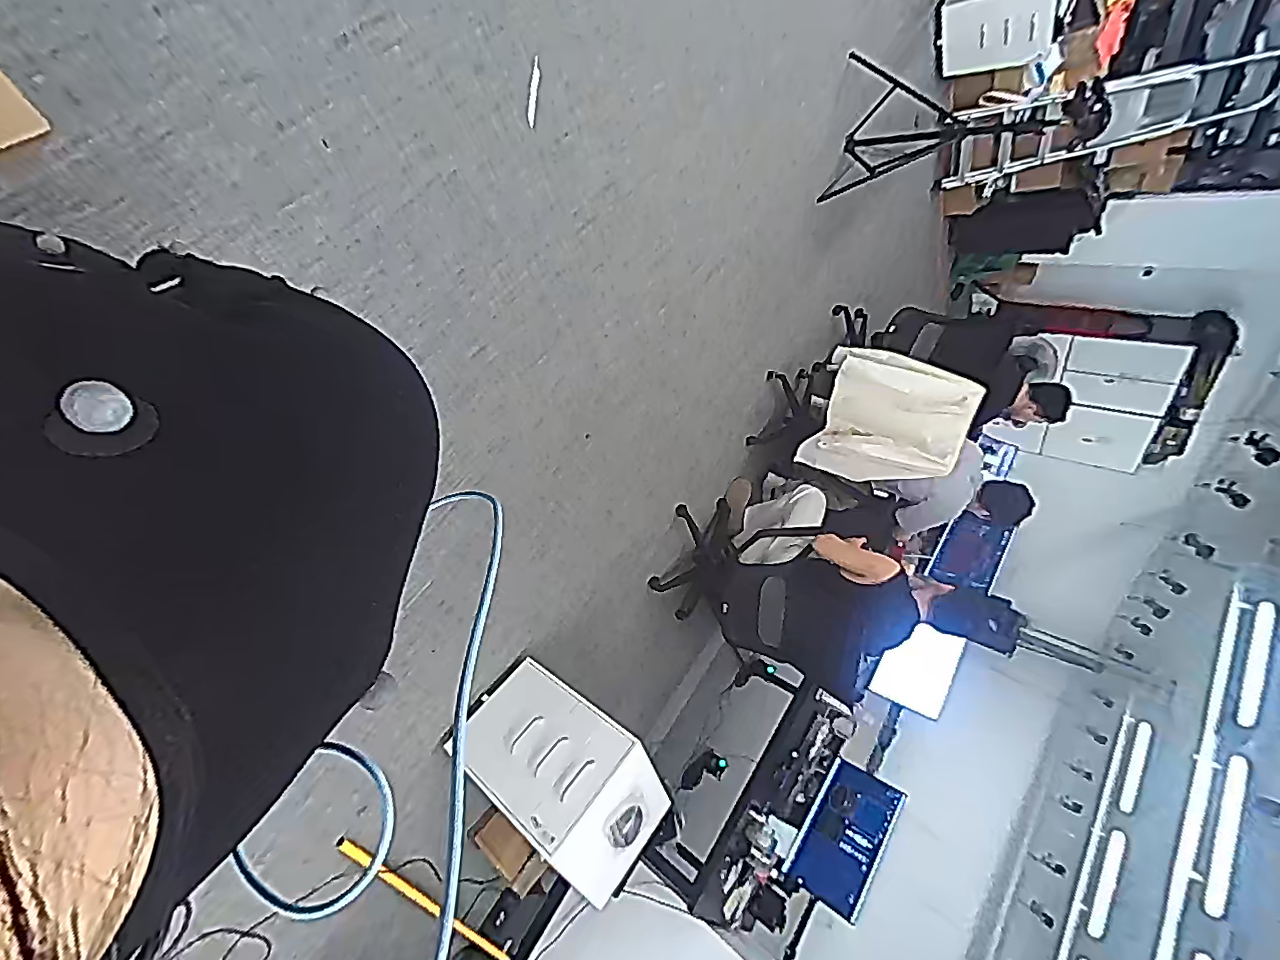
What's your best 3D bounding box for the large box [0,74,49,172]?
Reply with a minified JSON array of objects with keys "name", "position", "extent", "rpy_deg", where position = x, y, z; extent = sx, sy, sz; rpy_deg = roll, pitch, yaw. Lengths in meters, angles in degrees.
[{"name":"large box","position":[-1.026,-0.451,0.598],"extent":[0.408,0.320,0.320],"rpy_deg":[-49,139,-26]}]
